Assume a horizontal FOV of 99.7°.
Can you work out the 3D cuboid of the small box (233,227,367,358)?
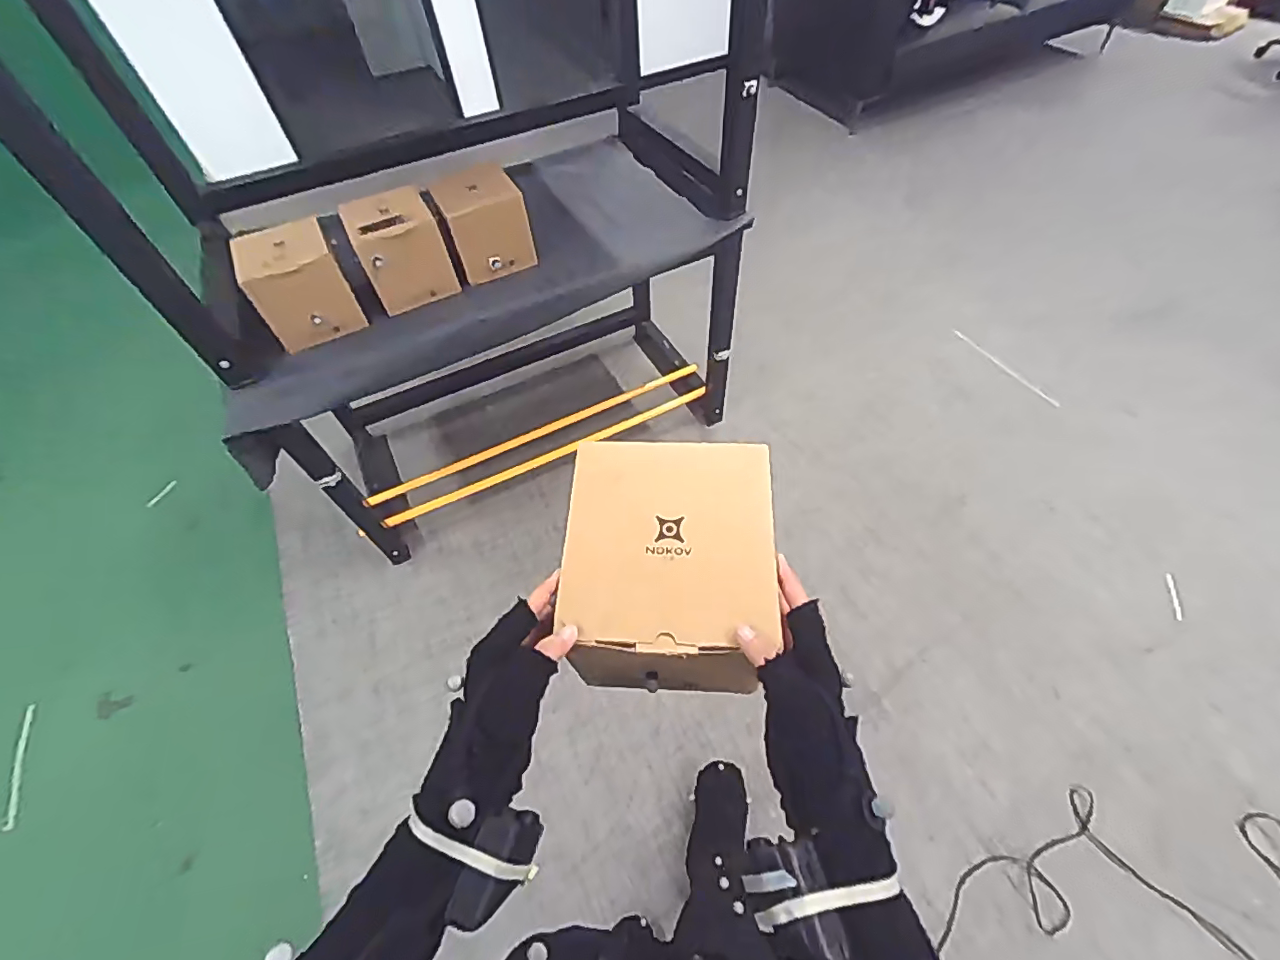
[{"bbox_3d":[-0.689,-0.381,1.106,0.168,0.176,0.179,-26,56,-15],"label":"small box"}]
